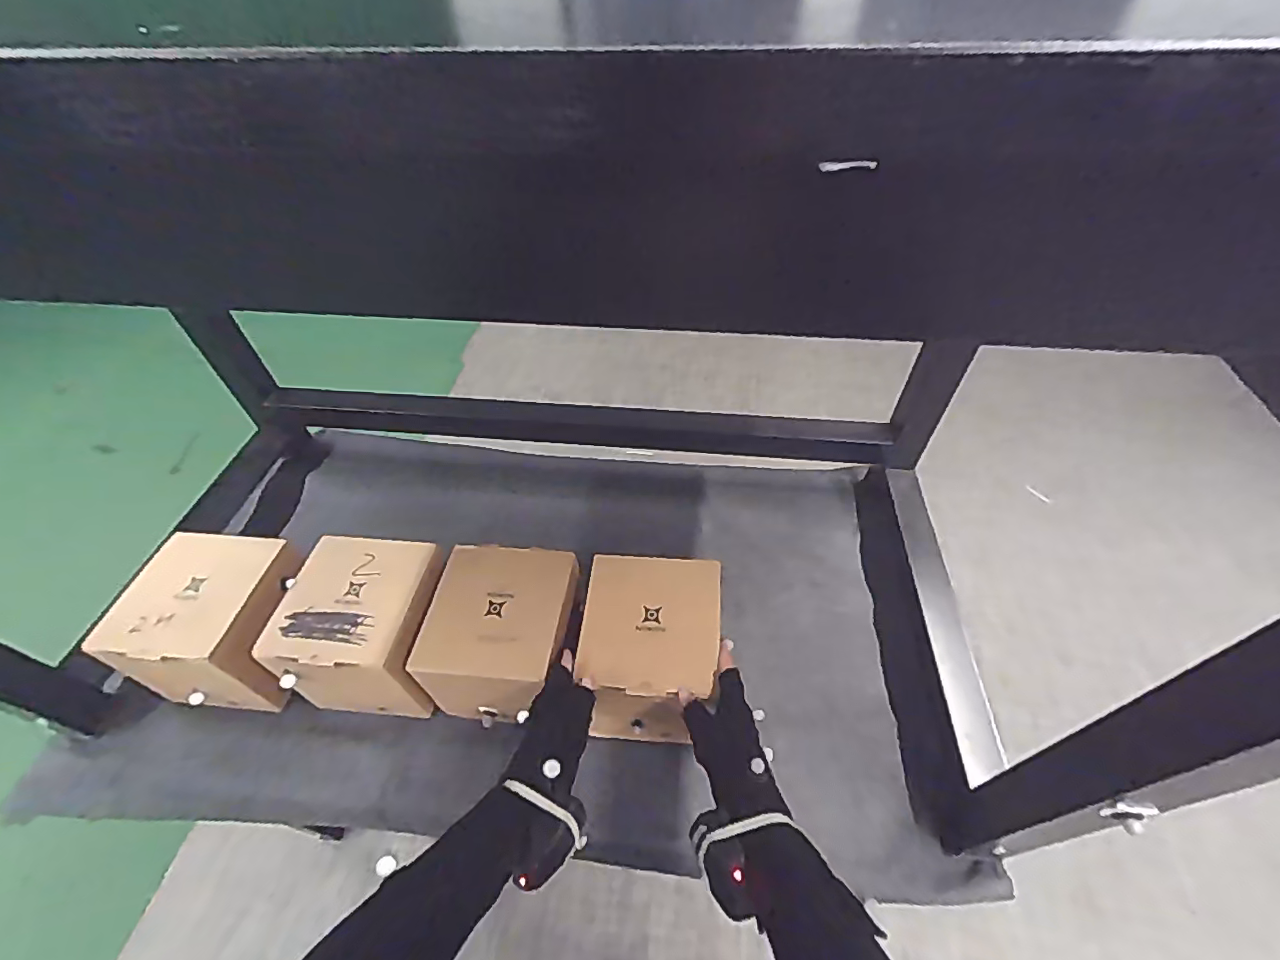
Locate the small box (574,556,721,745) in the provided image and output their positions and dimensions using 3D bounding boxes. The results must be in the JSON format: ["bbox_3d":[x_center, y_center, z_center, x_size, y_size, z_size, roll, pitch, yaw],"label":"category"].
[{"bbox_3d":[0.017,0.221,0.705,0.168,0.176,0.179,2,48,6],"label":"small box"}]

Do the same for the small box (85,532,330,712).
[{"bbox_3d":[-0.564,0.194,0.743,0.168,0.176,0.179,3,48,5],"label":"small box"}]
